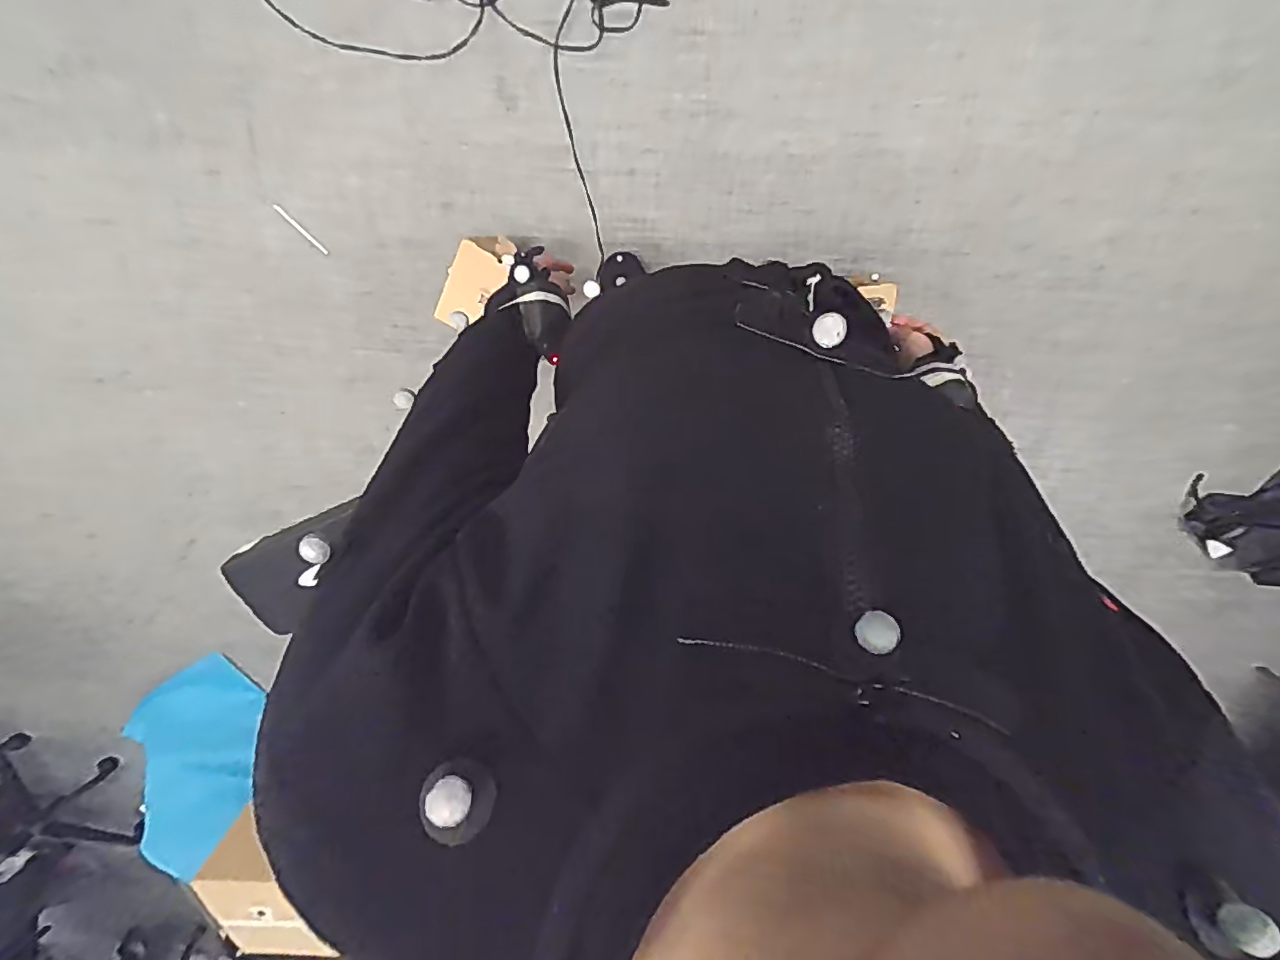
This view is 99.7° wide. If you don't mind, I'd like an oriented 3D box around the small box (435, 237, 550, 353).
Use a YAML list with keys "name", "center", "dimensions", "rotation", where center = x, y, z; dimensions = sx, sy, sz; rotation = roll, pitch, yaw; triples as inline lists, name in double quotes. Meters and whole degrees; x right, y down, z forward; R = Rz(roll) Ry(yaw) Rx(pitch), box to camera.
- name: "small box"
  center: [-0.312, -0.405, 1.178]
  dimensions: [0.168, 0.176, 0.179]
  rotation: [27, 113, -9]
